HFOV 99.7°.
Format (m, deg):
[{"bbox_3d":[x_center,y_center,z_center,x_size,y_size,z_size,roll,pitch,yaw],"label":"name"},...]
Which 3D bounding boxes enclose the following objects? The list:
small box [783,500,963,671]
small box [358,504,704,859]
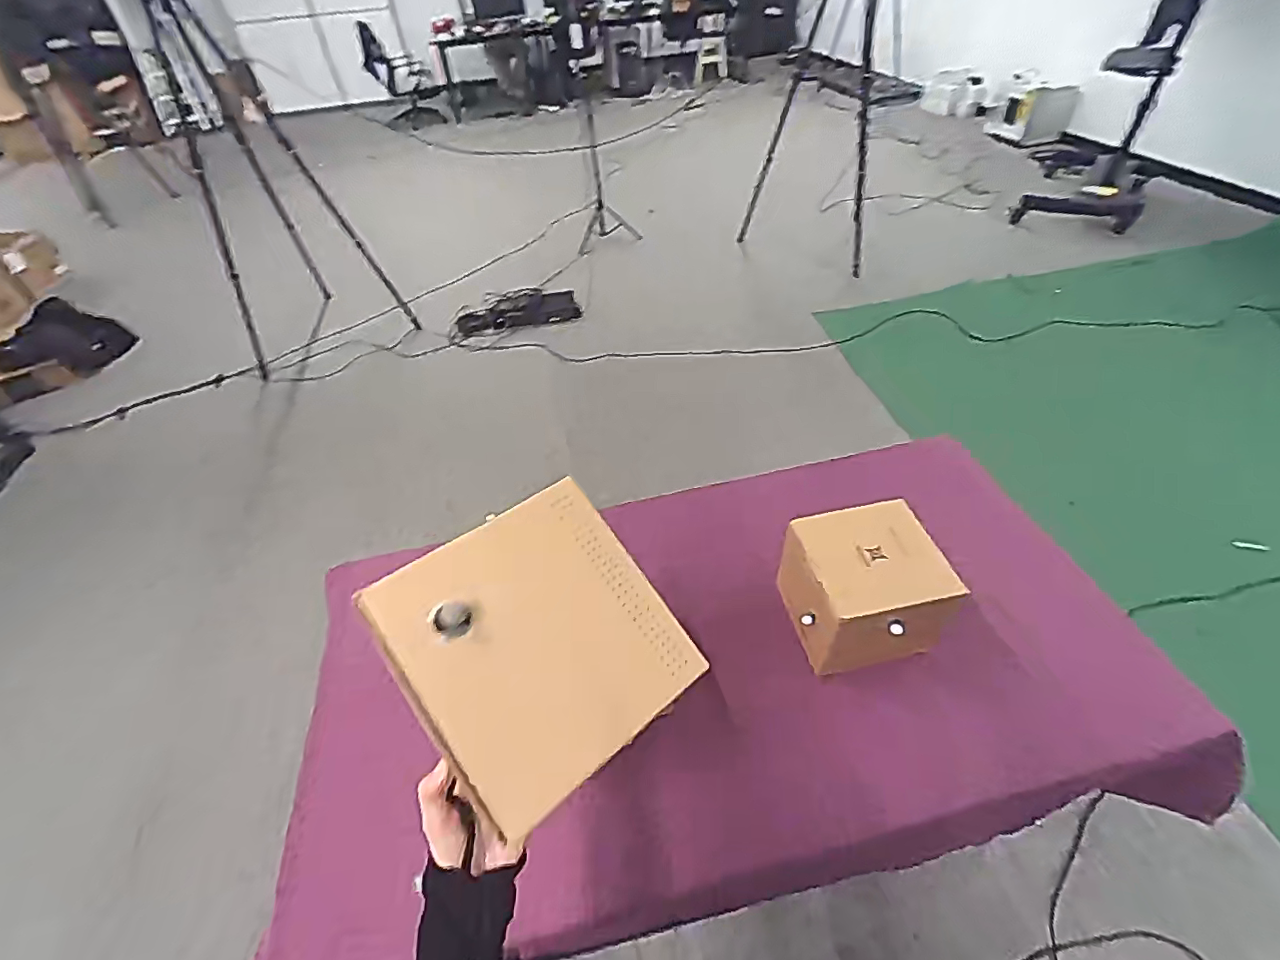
[{"bbox_3d":[0.319,0.158,0.790,0.179,0.176,0.168,-11,47,-5],"label":"small box"},{"bbox_3d":[-0.085,0.139,0.421,0.176,0.168,0.179,-32,79,-29],"label":"small box"}]
